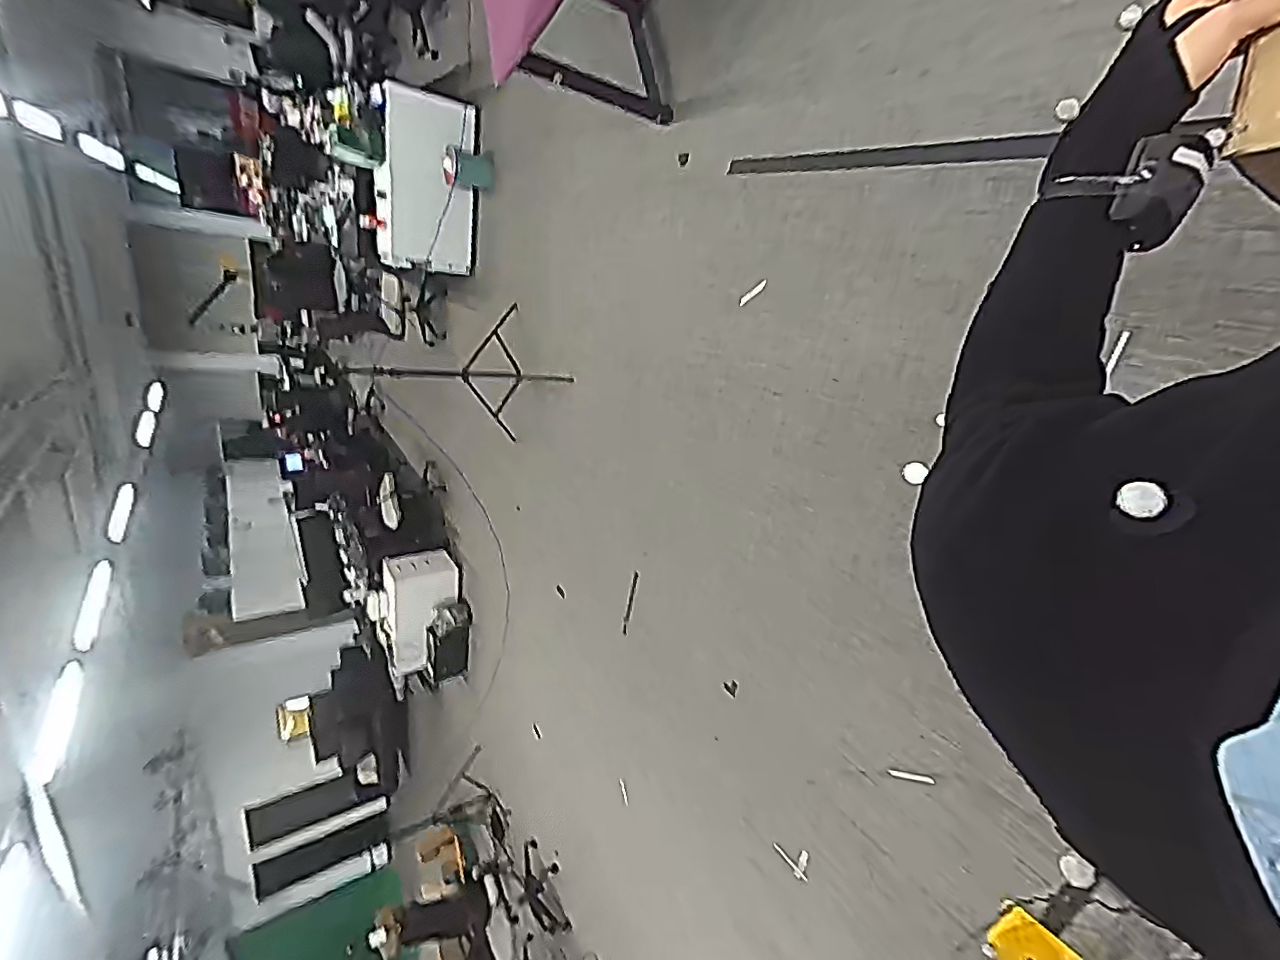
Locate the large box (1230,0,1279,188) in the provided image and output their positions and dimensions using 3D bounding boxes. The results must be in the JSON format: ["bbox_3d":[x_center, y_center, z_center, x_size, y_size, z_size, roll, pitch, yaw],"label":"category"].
[{"bbox_3d":[0.655,-0.363,0.271,0.408,0.320,0.320,19,112,56],"label":"large box"}]
